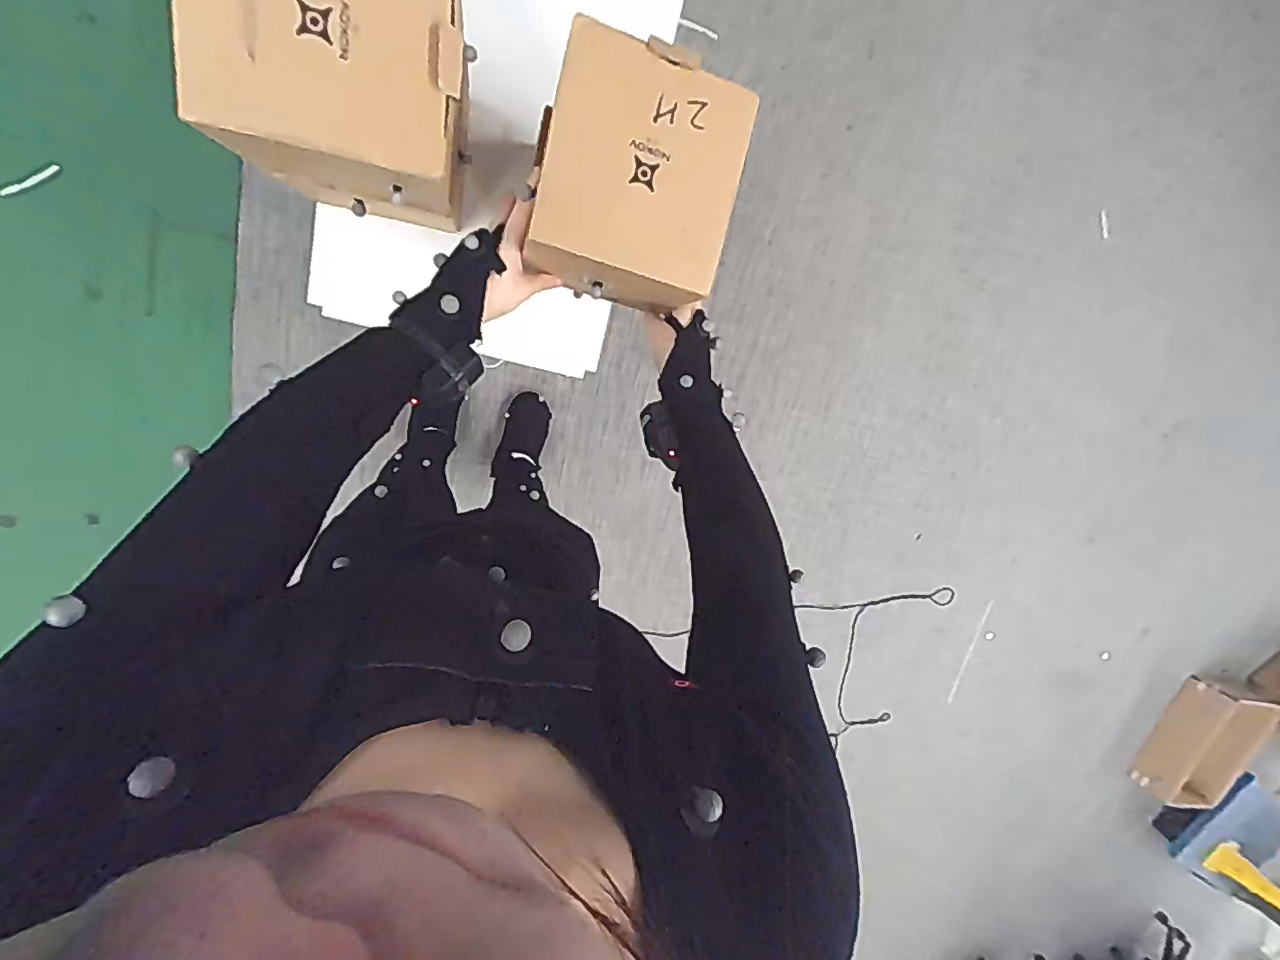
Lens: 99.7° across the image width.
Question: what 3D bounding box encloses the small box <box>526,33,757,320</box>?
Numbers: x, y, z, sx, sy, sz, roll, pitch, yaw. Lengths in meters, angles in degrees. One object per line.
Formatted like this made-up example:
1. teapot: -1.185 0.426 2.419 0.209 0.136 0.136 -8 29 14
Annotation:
1. small box: -0.014 -0.269 0.535 0.168 0.176 0.179 12 97 -18

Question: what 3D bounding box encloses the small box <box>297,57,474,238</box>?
1. small box: -0.287 -0.383 0.612 0.179 0.176 0.168 6 106 -19

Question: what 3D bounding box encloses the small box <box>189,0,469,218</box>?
1. small box: -0.242 -0.336 0.462 0.179 0.176 0.168 4 105 -18
